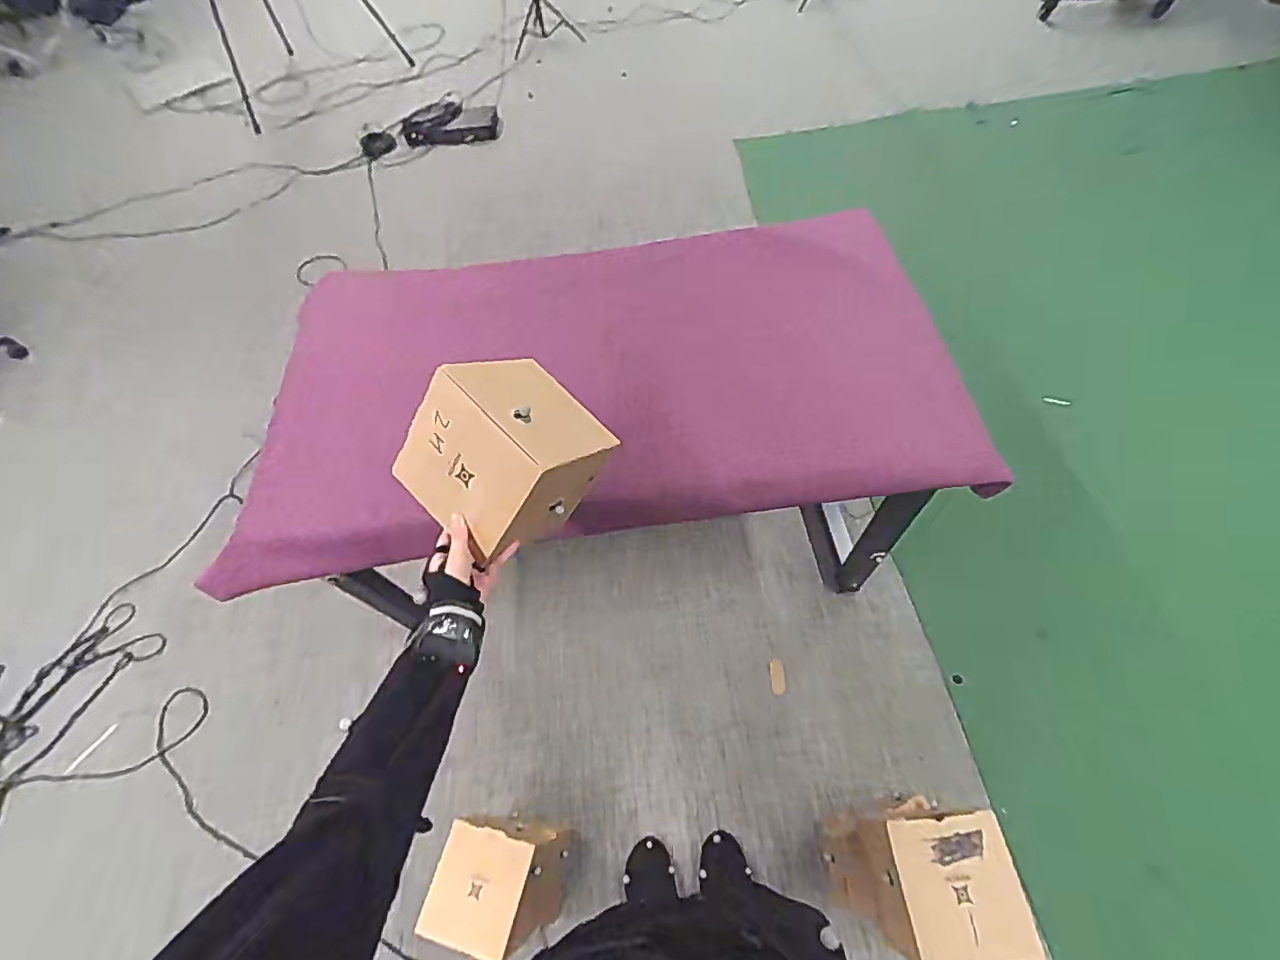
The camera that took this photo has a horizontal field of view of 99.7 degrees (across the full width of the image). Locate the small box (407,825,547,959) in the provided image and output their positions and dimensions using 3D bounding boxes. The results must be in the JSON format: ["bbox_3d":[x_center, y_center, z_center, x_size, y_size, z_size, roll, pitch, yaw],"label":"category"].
[{"bbox_3d":[-0.288,0.763,1.003,0.168,0.176,0.179,10,60,12],"label":"small box"}]

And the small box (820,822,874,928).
[{"bbox_3d":[0.473,0.801,1.103,0.179,0.176,0.168,1,59,6],"label":"small box"}]

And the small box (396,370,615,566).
[{"bbox_3d":[-0.163,-0.028,0.688,0.179,0.168,0.176,45,27,11],"label":"small box"}]

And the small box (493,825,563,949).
[{"bbox_3d":[-0.268,0.844,1.141,0.168,0.176,0.179,5,60,9],"label":"small box"}]

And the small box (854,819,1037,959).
[{"bbox_3d":[0.447,0.626,0.826,0.168,0.176,0.179,-6,60,1],"label":"small box"}]
